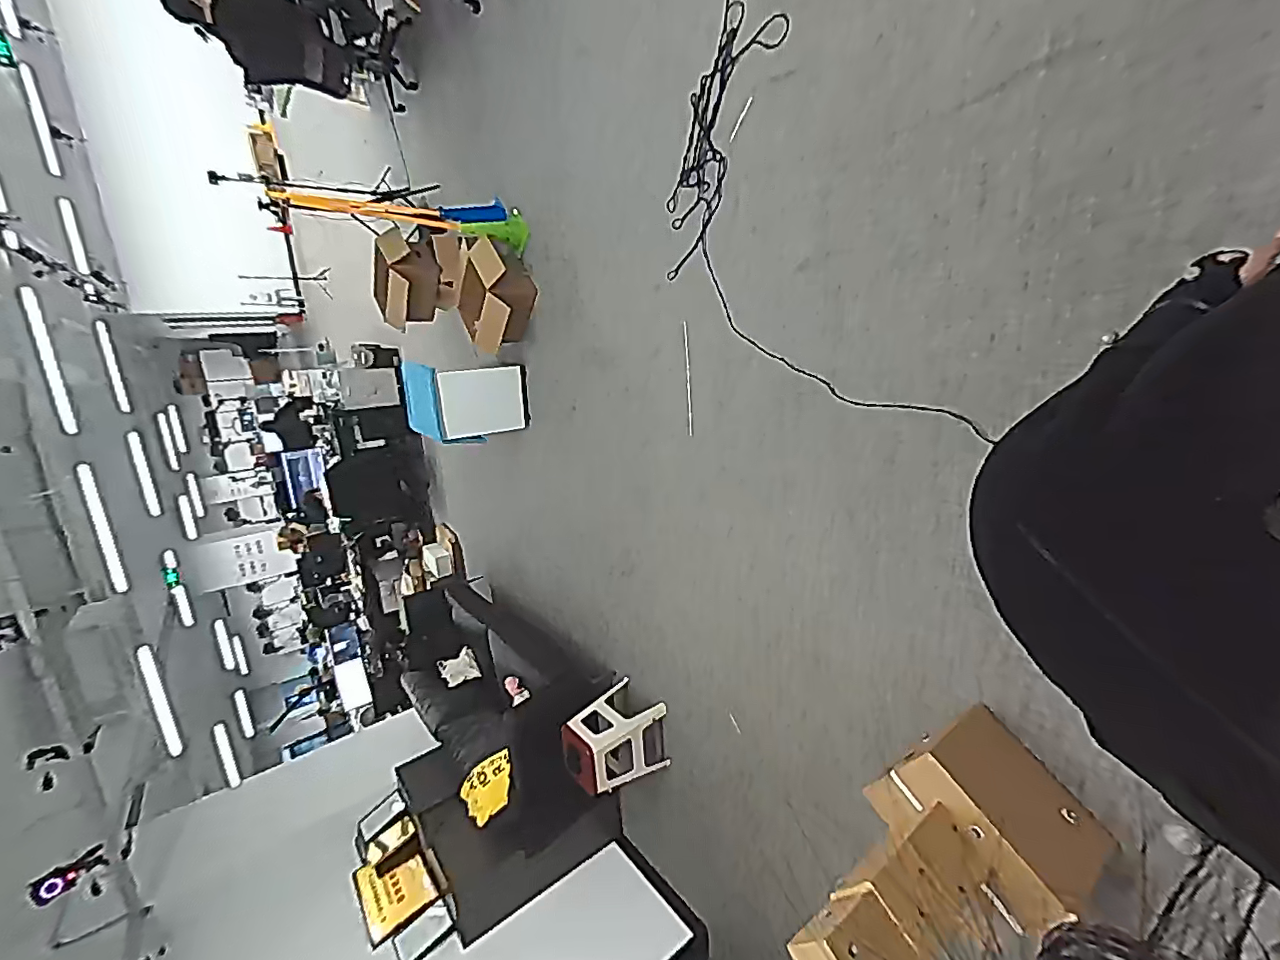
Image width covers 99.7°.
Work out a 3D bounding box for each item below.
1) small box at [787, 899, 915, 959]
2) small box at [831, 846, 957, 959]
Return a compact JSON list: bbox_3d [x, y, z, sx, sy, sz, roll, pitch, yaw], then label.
[{"bbox_3d":[0.454,1.021,1.135,0.179,0.176,0.168,53,140,29],"label":"small box"},{"bbox_3d":[0.581,0.977,1.231,0.168,0.176,0.179,52,139,30],"label":"small box"}]
